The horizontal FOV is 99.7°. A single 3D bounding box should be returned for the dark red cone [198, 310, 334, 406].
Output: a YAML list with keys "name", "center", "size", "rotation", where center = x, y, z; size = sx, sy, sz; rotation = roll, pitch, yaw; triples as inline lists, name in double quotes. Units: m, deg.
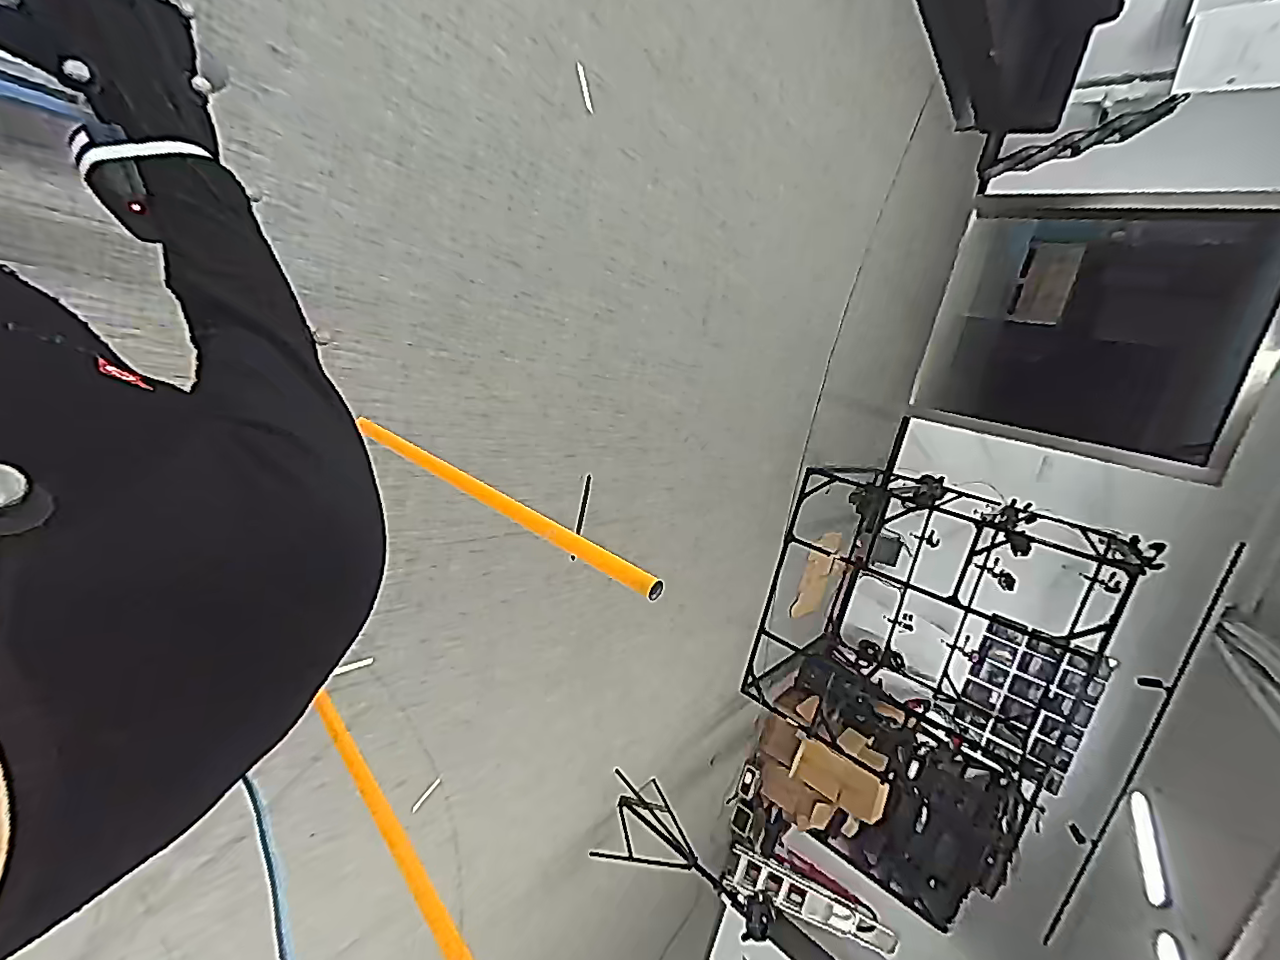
- name: "dark red cone"
  center: [-0.754, -0.223, 1.139]
  size: [0.201, 0.394, 0.202]
  rotation: [-3, 110, -54]
